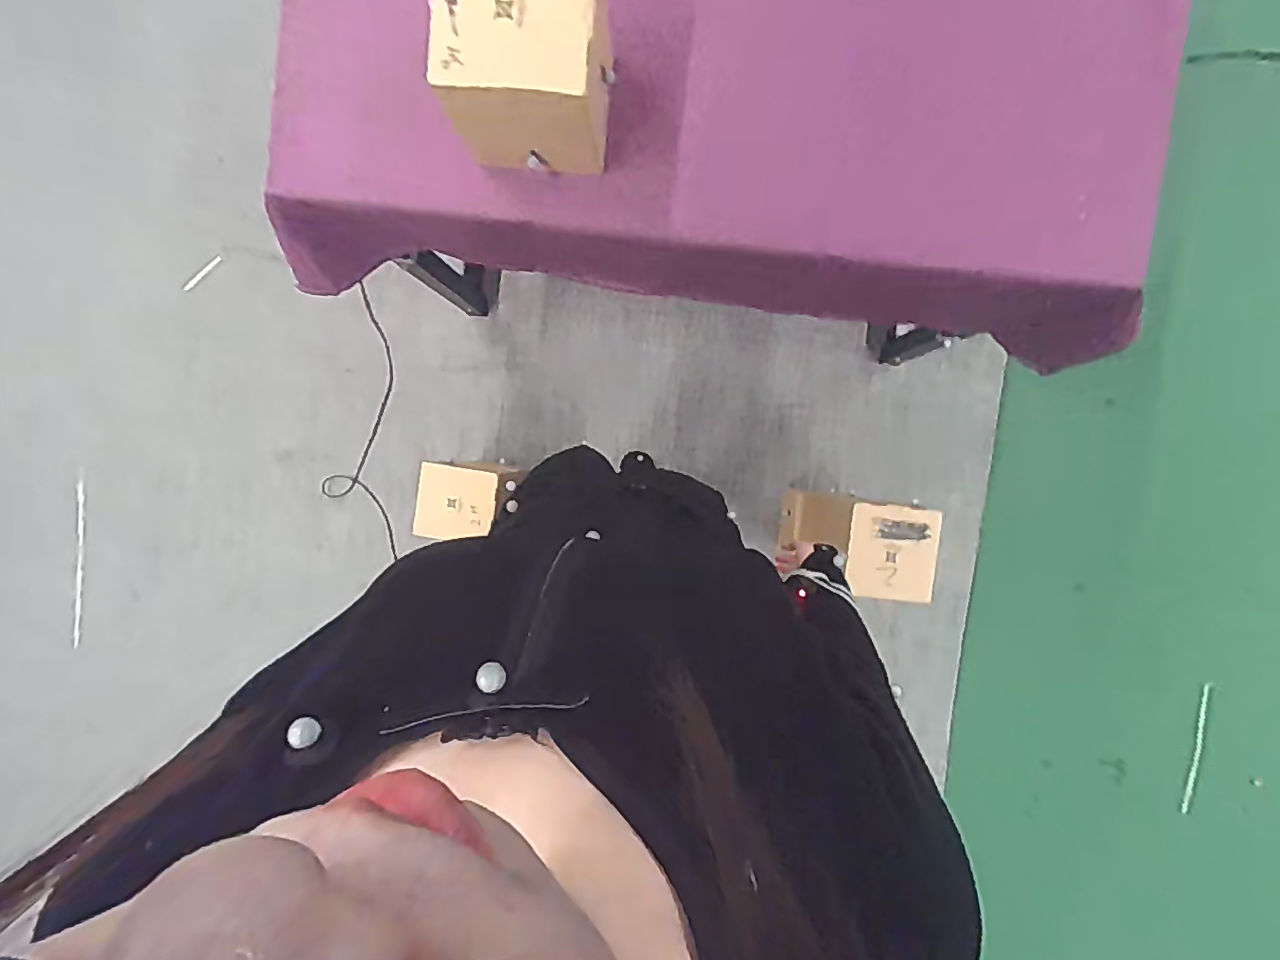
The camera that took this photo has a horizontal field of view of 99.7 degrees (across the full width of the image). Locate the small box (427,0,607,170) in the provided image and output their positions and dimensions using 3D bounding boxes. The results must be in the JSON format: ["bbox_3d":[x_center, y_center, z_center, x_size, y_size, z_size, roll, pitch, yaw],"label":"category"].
[{"bbox_3d":[-0.136,-0.505,0.658,0.179,0.176,0.168,5,93,1],"label":"small box"}]

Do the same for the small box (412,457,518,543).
[{"bbox_3d":[-0.402,0.041,1.264,0.179,0.176,0.168,9,94,1],"label":"small box"}]

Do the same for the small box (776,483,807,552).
[{"bbox_3d":[0.462,0.099,1.405,0.179,0.176,0.168,5,94,1],"label":"small box"}]

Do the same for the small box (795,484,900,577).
[{"bbox_3d":[0.466,0.109,1.243,0.168,0.176,0.179,7,93,0],"label":"small box"}]
